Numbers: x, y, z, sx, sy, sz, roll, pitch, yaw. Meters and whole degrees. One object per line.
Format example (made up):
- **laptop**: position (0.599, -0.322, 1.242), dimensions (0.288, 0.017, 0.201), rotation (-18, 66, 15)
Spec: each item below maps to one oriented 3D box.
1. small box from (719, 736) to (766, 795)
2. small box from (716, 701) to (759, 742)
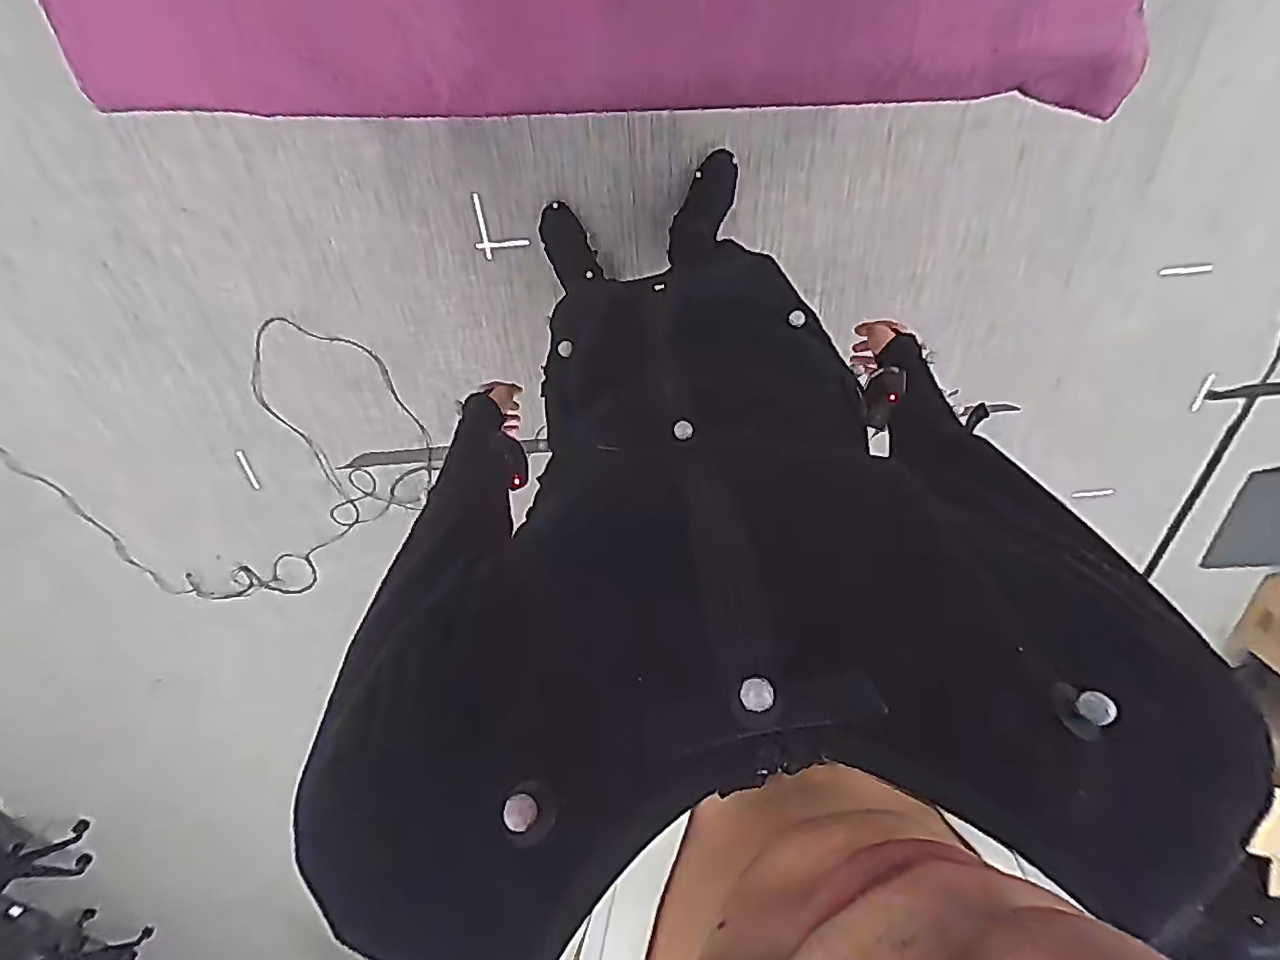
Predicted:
- **small box**: position (0.455, 1.261, 2.395), dimensions (0.179, 0.176, 0.168), rotation (-10, 123, 0)
- **small box**: position (0.454, 1.167, 2.531), dimensions (0.168, 0.176, 0.179), rotation (-9, 123, 0)
